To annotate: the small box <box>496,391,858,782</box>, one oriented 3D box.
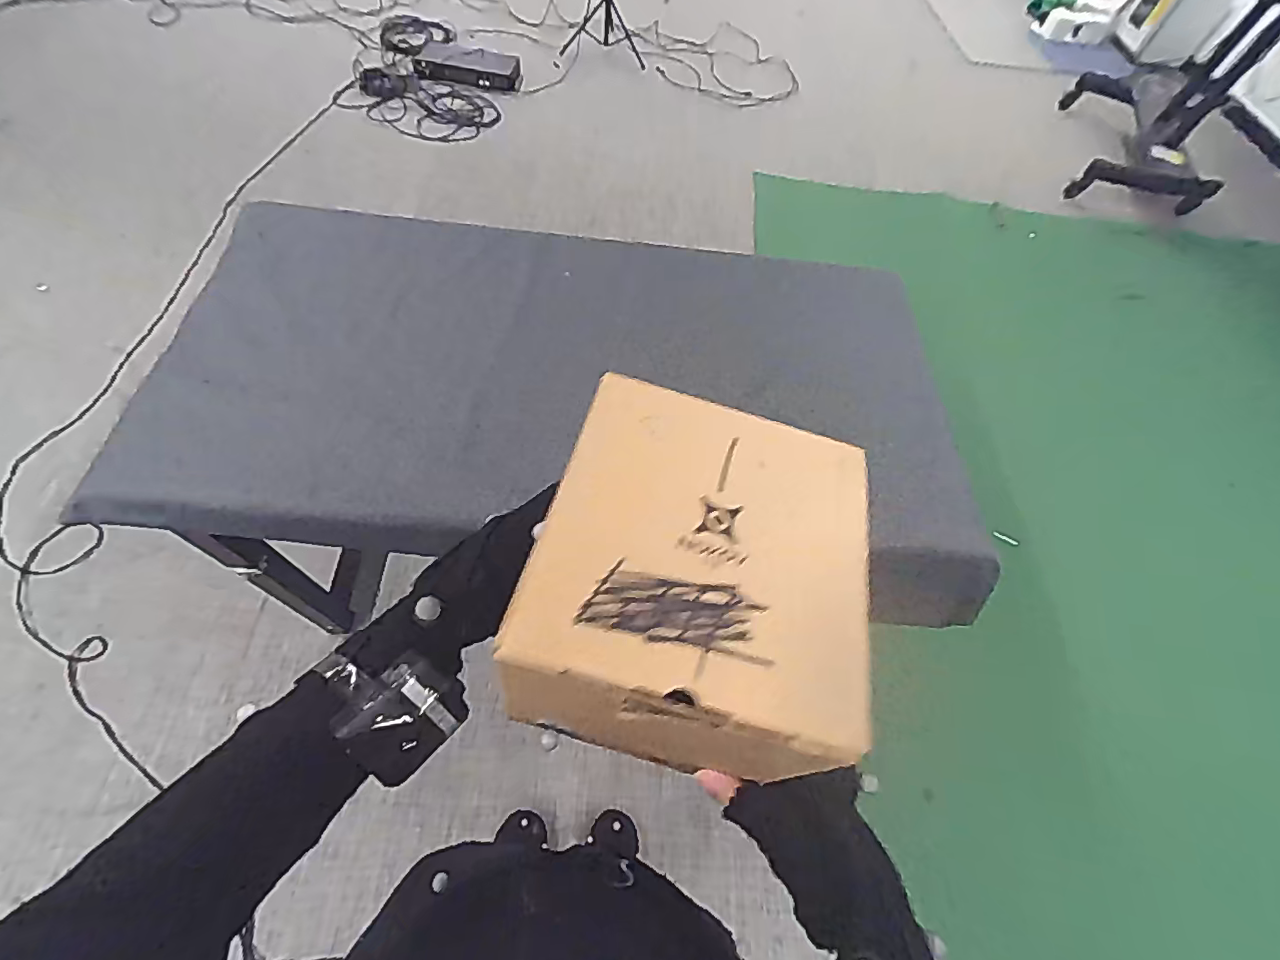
[{"bbox_3d":[0.021,0.079,0.354,0.168,0.176,0.179,18,56,0],"label":"small box"}]
